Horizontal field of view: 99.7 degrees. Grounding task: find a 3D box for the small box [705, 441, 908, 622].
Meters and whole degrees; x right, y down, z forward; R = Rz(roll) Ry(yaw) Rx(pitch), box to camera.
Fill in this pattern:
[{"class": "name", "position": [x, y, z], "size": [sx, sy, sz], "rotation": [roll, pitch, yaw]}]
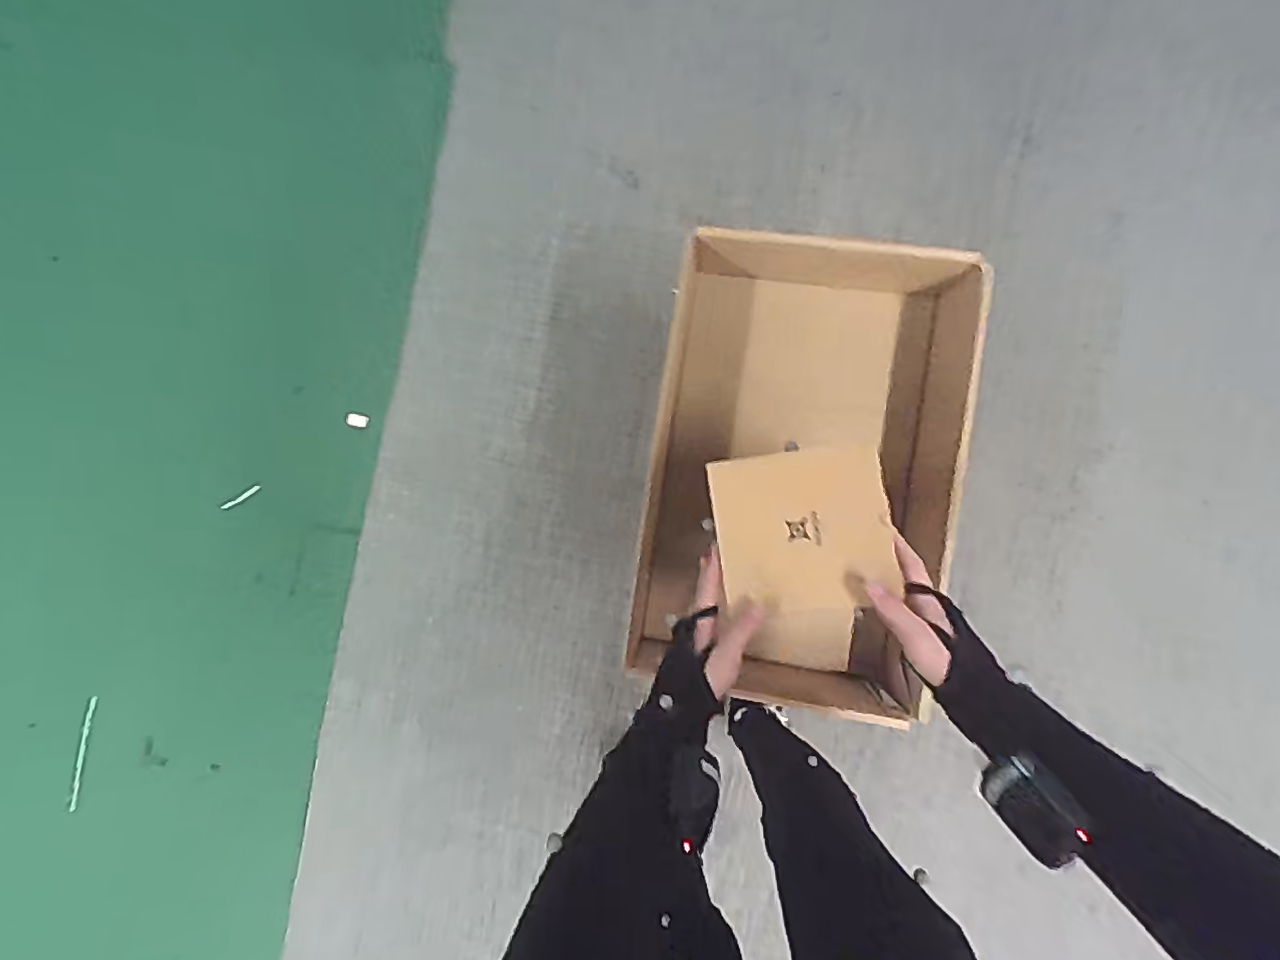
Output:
[{"class": "small box", "position": [0.175, 0.064, 0.617], "size": [0.179, 0.176, 0.168], "rotation": [-9, 81, 7]}]
